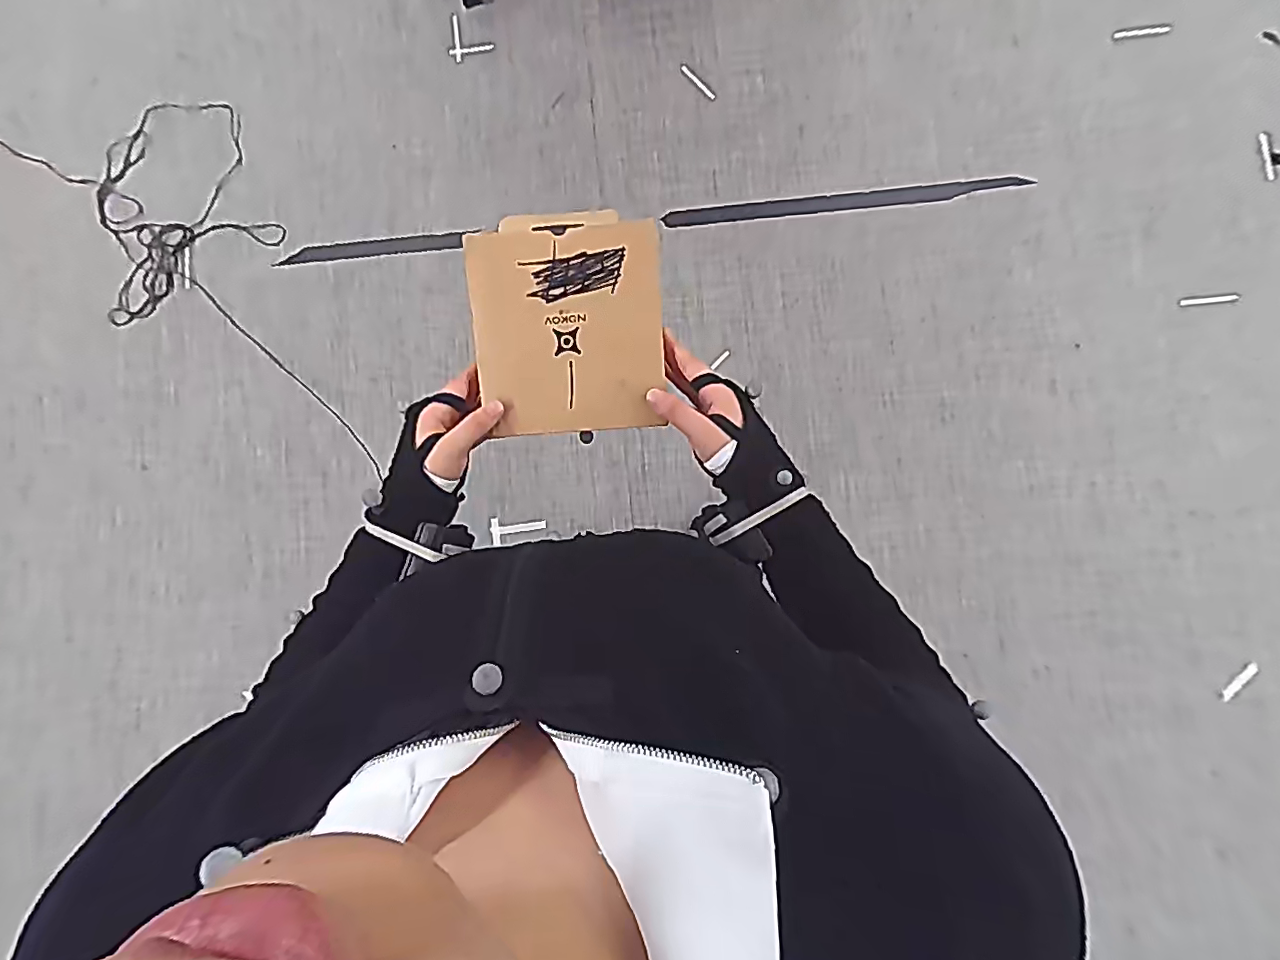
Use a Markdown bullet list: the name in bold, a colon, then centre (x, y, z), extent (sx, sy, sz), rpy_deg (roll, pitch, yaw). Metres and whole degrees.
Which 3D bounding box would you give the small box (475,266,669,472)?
- **small box**: centre (-0.059, -0.107, 0.560), extent (0.168, 0.176, 0.179), rpy_deg (-4, 98, 2)
